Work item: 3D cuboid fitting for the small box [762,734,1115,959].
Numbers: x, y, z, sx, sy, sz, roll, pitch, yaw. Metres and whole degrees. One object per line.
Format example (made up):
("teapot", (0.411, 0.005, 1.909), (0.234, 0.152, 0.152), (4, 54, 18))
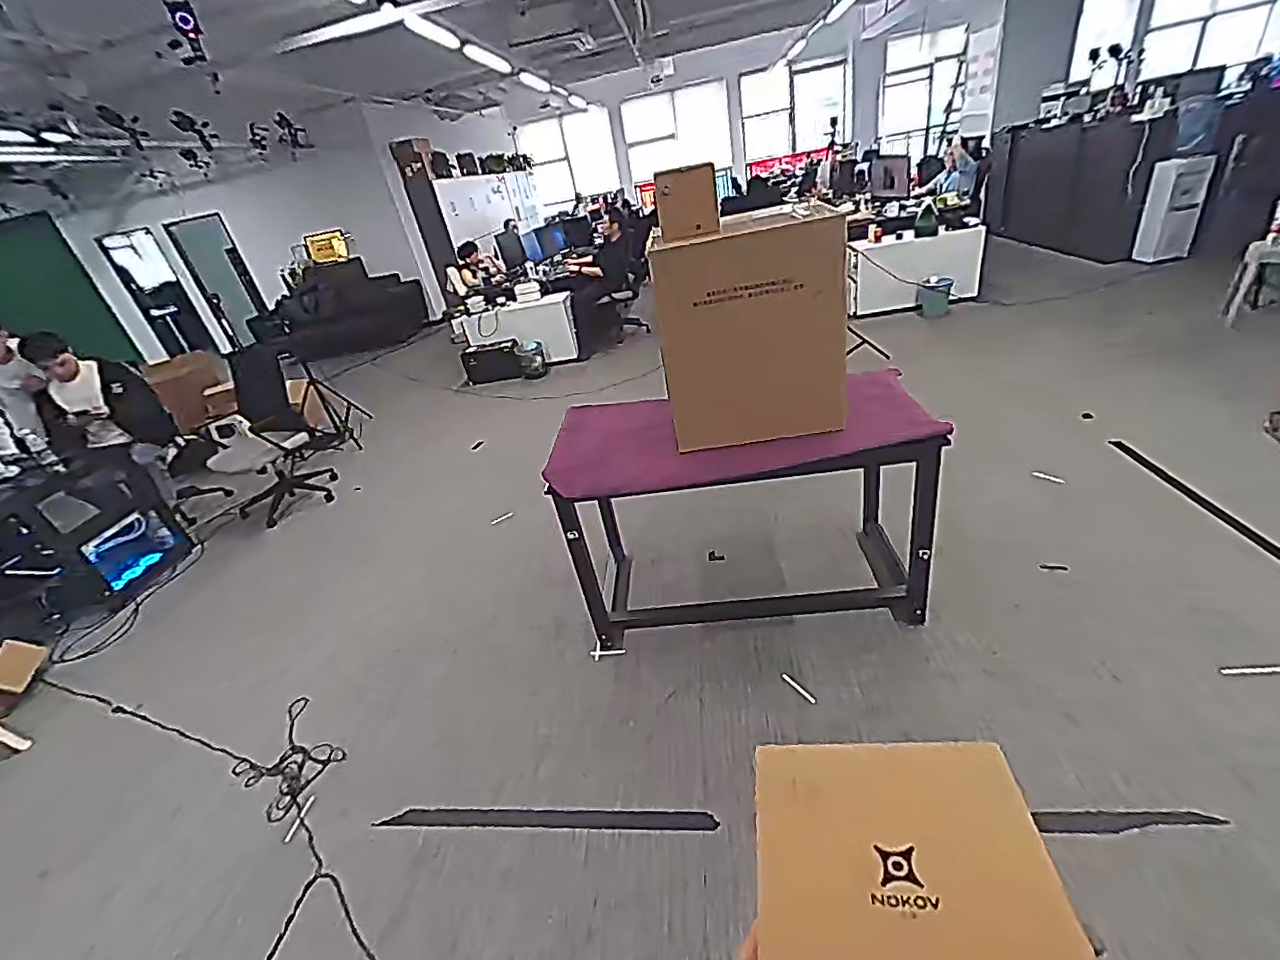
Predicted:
("small box", (0.172, 0.292, 0.342), (0.168, 0.176, 0.179), (-9, 25, 15))
